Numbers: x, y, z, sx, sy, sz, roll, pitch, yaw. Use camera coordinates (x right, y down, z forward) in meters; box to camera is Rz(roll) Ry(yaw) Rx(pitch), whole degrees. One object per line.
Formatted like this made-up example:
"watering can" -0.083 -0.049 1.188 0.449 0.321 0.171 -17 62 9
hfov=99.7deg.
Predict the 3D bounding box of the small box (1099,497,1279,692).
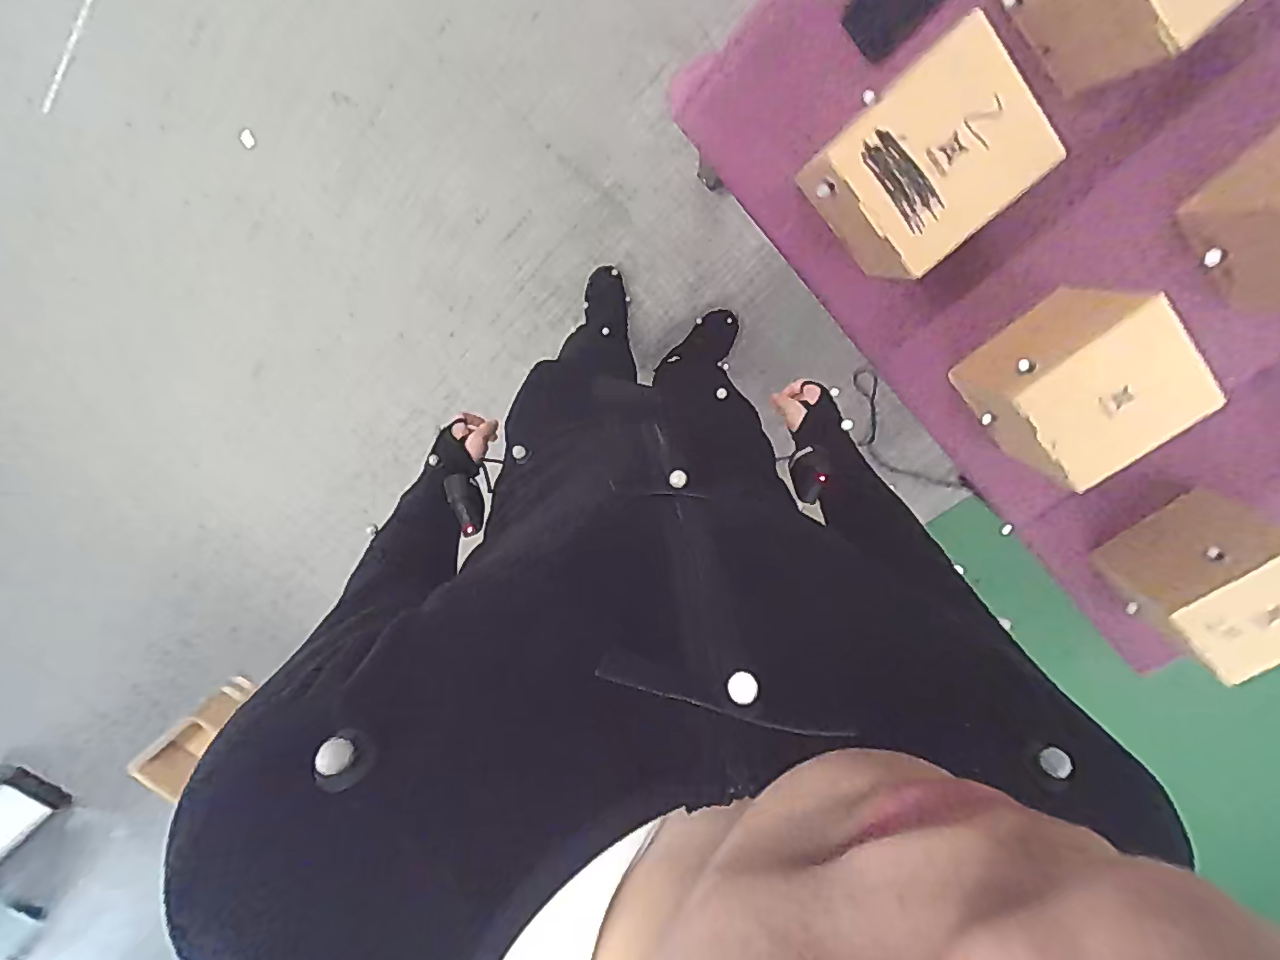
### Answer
"small box" 0.830 0.154 0.773 0.168 0.176 0.179 44 111 -11

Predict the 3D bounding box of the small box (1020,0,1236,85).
"small box" 0.503 -0.532 0.518 0.168 0.176 0.179 43 110 -13

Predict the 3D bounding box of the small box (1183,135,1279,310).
"small box" 0.779 -0.303 0.589 0.168 0.176 0.179 44 111 -12

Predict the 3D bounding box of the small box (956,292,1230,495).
"small box" 0.554 -0.119 0.689 0.179 0.176 0.168 -40 104 18
